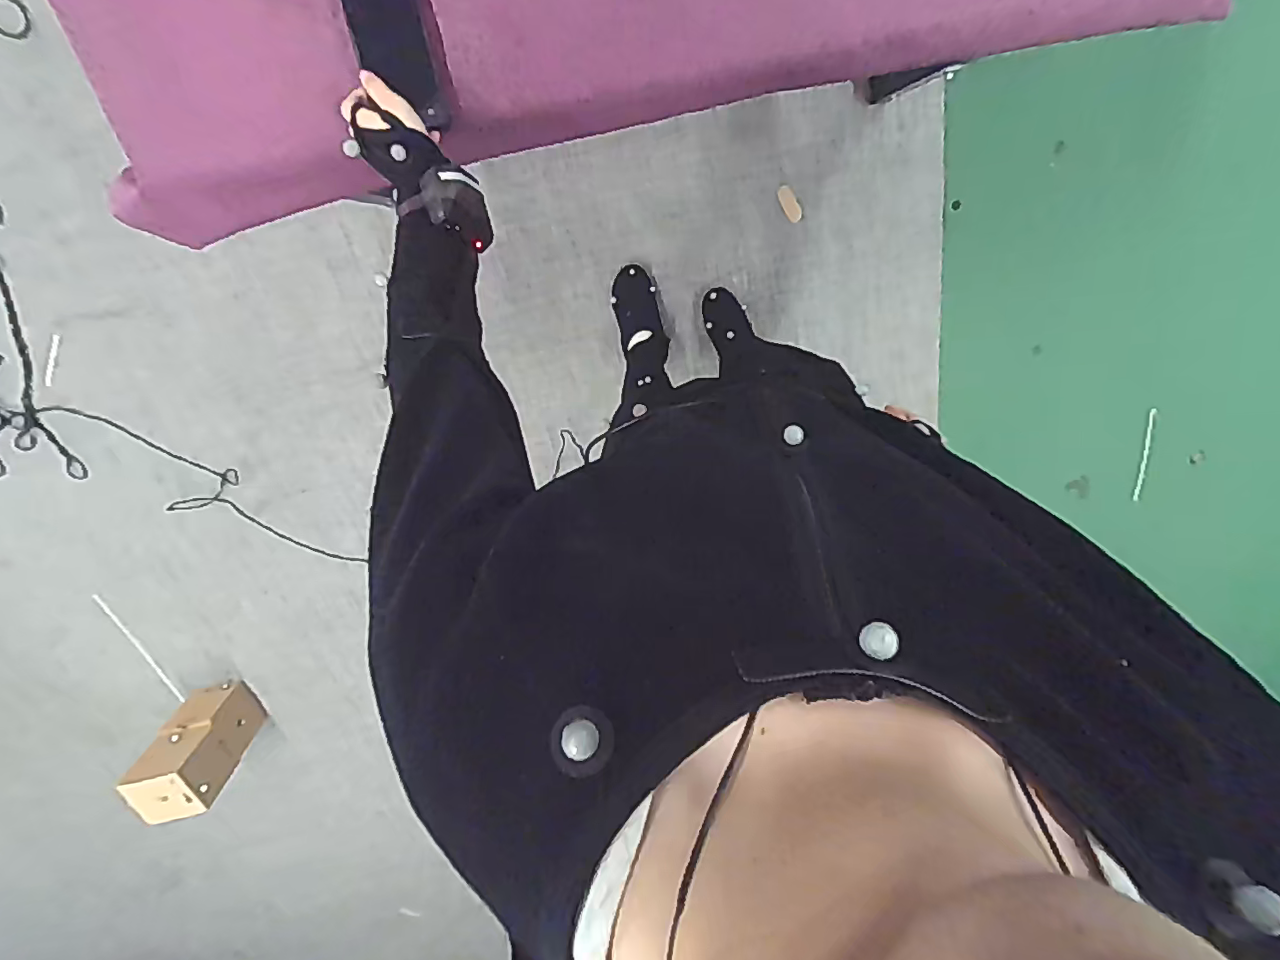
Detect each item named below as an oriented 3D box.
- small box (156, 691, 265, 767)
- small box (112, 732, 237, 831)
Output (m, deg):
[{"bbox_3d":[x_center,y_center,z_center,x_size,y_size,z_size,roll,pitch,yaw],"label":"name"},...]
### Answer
[{"bbox_3d":[-1.327,0.783,1.686,0.168,0.176,0.179,-14,114,1],"label":"small box"},{"bbox_3d":[-1.311,0.854,1.538,0.179,0.176,0.168,-12,114,1],"label":"small box"}]
